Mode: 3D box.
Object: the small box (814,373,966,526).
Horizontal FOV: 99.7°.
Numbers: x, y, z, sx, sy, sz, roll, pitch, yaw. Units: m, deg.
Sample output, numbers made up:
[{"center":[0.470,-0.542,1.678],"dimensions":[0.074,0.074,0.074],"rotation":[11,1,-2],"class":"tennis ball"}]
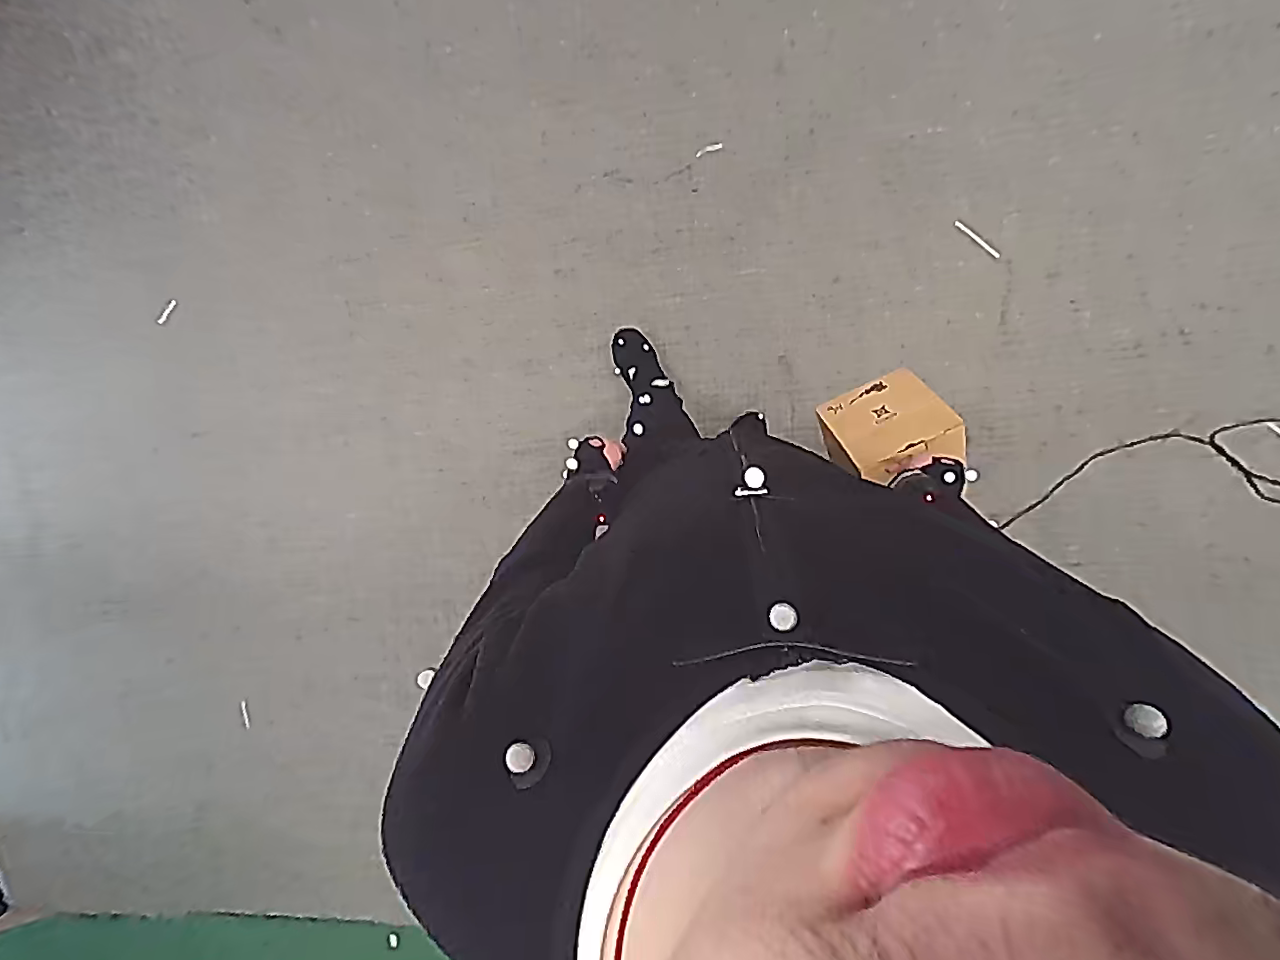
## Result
[{"center":[0.430,-0.044,0.932],"dimensions":[0.168,0.179,0.176],"rotation":[-28,129,9],"class":"small box"}]
